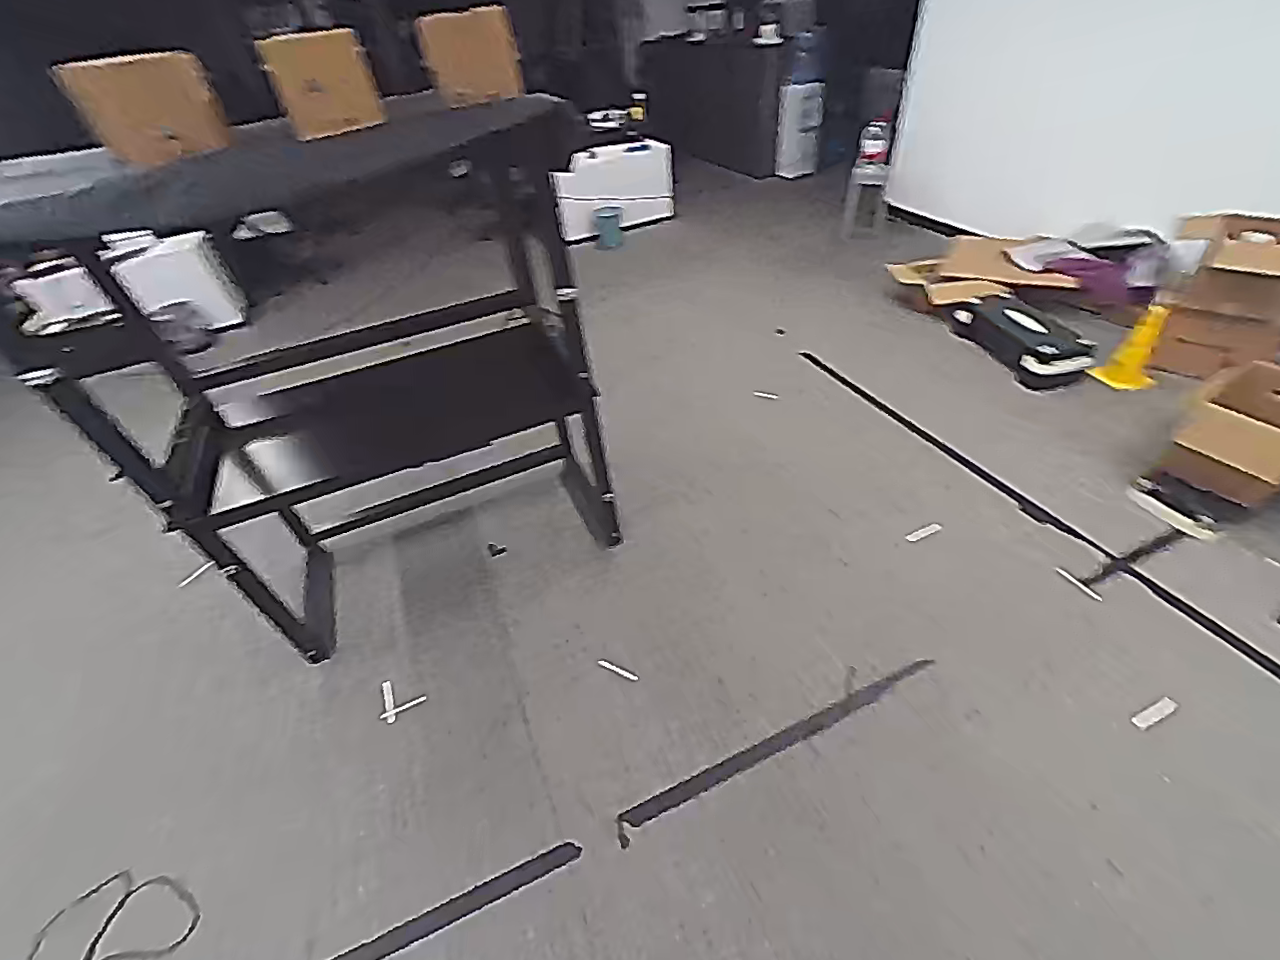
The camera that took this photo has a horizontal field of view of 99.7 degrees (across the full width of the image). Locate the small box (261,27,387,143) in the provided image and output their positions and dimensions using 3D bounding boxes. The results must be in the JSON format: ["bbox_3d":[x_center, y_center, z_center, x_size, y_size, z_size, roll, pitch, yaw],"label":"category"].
[{"bbox_3d":[-0.637,-0.804,1.108,0.168,0.176,0.179,-21,42,-15],"label":"small box"}]

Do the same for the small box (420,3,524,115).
[{"bbox_3d":[-0.363,-0.908,1.176,0.168,0.176,0.179,-19,40,-12],"label":"small box"}]
